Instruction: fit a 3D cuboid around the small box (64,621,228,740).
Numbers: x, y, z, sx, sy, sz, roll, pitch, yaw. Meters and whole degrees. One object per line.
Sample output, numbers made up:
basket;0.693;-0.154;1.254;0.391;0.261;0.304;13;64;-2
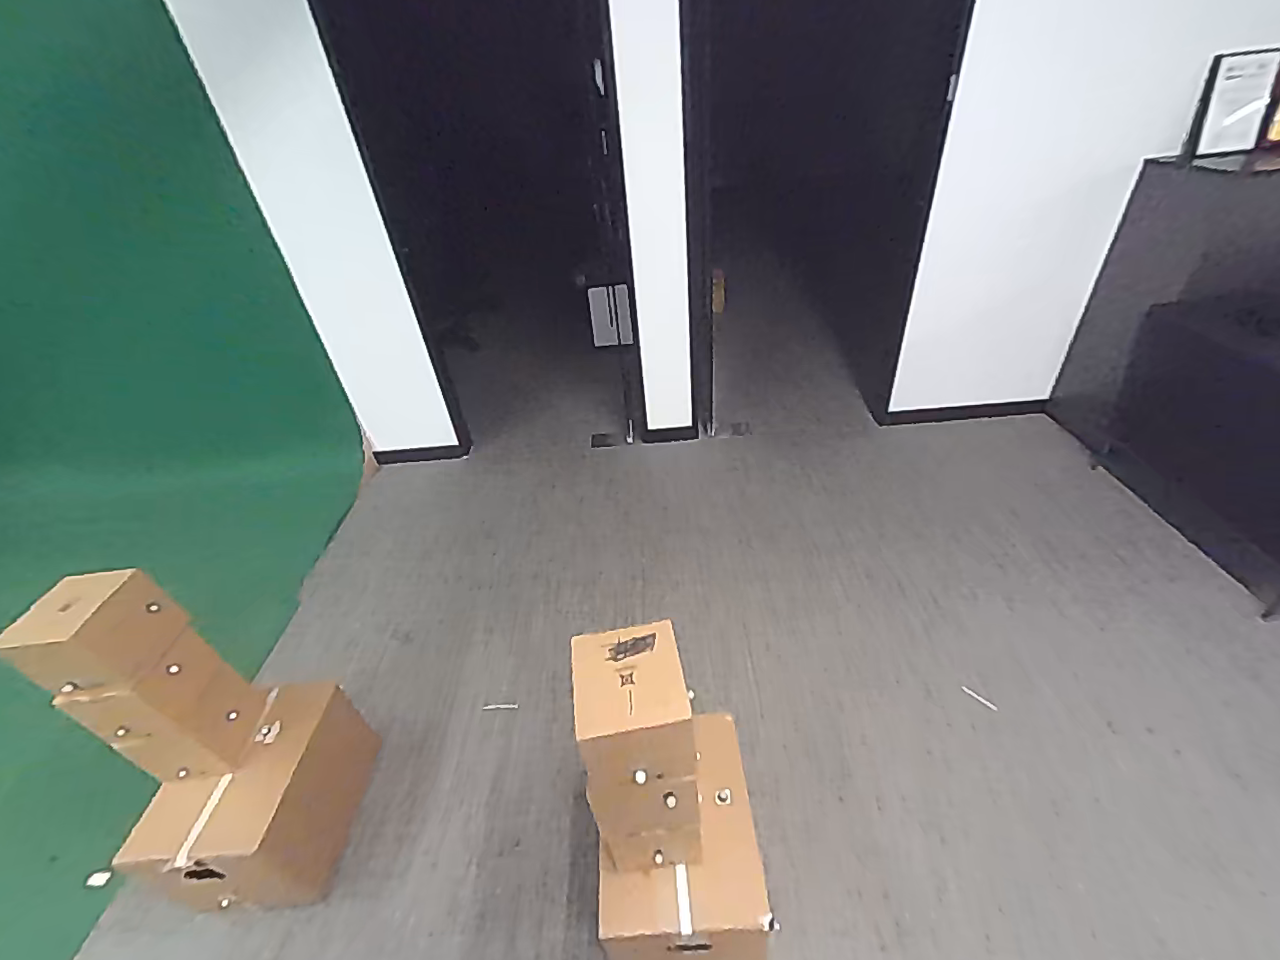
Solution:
small box;-1.052;0.435;1.177;0.168;0.176;0.179;-8;38;4

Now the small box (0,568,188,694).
small box;-1.070;0.302;1.085;0.168;0.176;0.179;-7;38;5

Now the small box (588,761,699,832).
small box;0.007;0.488;0.950;0.179;0.176;0.168;-8;36;0

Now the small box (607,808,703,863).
small box;0.026;0.617;1.052;0.168;0.176;0.179;-8;37;0

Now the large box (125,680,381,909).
large box;-0.926;0.786;1.371;0.320;0.320;0.408;-5;36;2

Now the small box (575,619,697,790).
small box;-0.008;0.353;0.856;0.168;0.176;0.179;-10;37;-2
